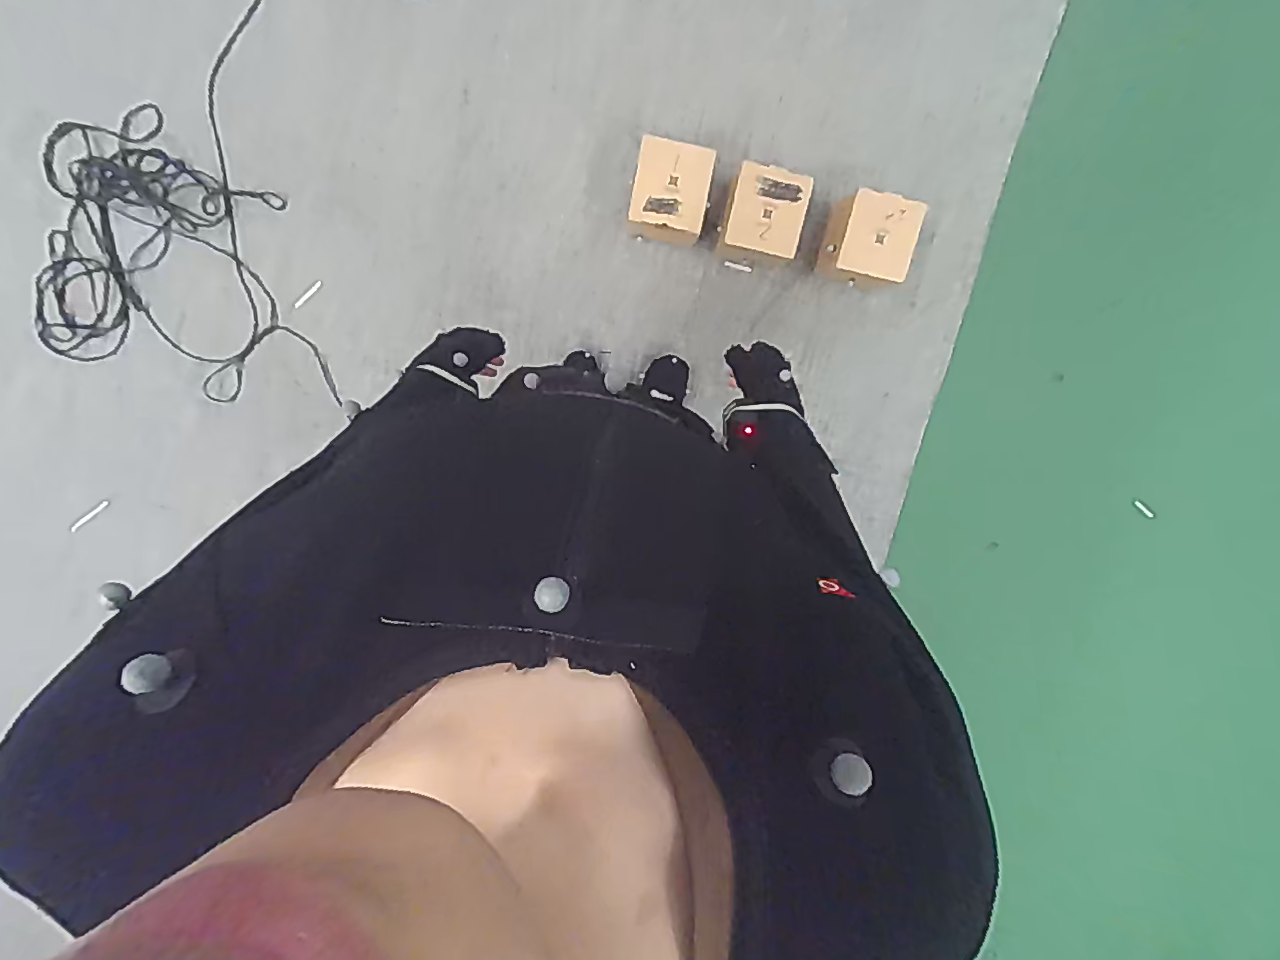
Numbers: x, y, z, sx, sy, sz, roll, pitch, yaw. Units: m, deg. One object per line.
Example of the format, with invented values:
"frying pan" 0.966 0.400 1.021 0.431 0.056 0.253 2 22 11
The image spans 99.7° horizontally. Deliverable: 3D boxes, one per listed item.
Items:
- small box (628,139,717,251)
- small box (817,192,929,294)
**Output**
"small box" 0.071 -0.648 1.255 0.168 0.176 0.179 11 101 -3
"small box" 0.542 -0.553 1.287 0.168 0.176 0.179 12 102 -4
